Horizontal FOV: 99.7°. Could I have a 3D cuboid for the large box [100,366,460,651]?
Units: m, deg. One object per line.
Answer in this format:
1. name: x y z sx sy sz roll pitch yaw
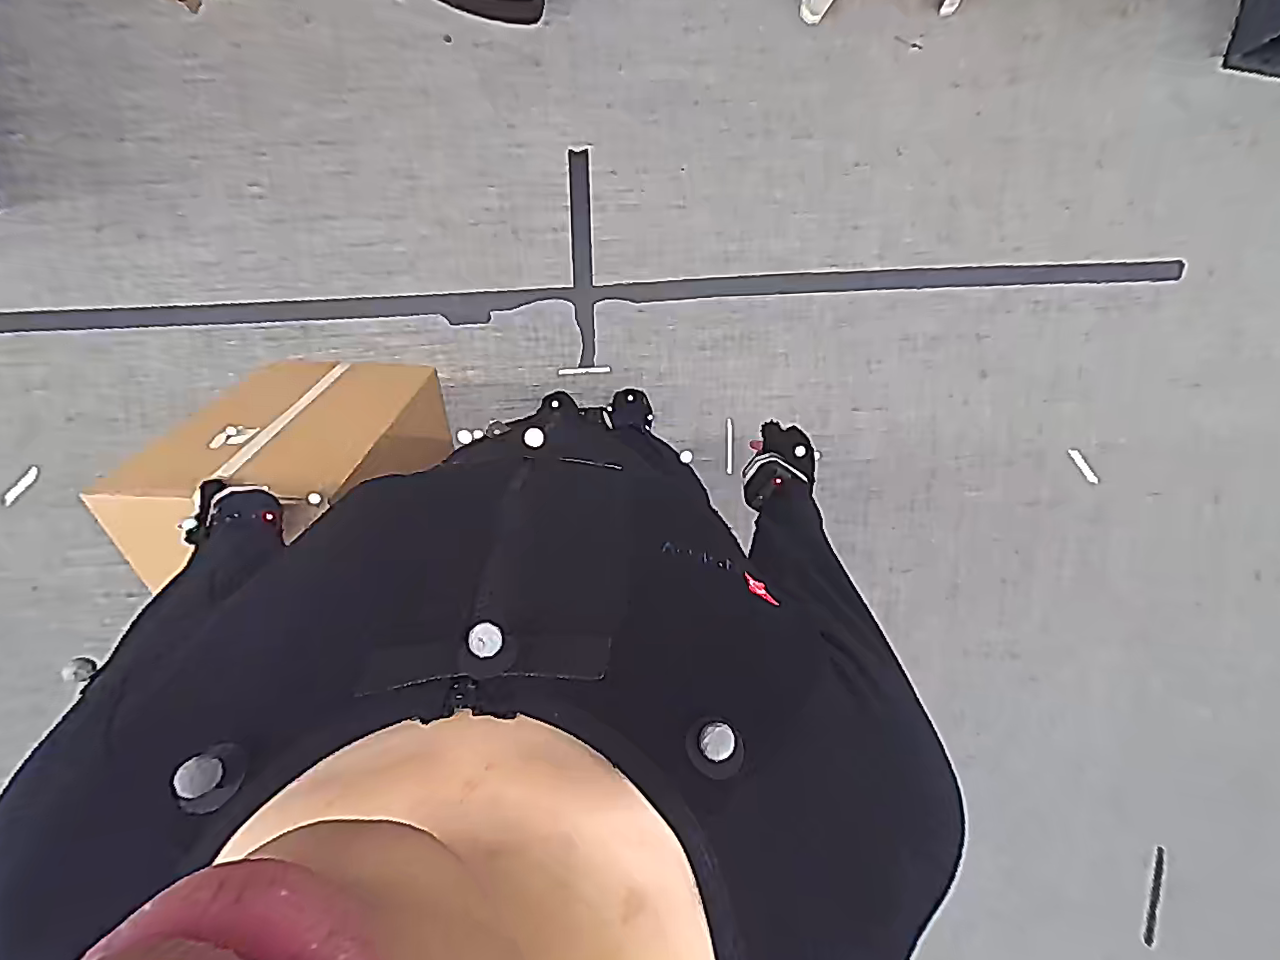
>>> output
1. large box: -0.535 0.032 0.928 0.320 0.408 0.320 0 127 1
